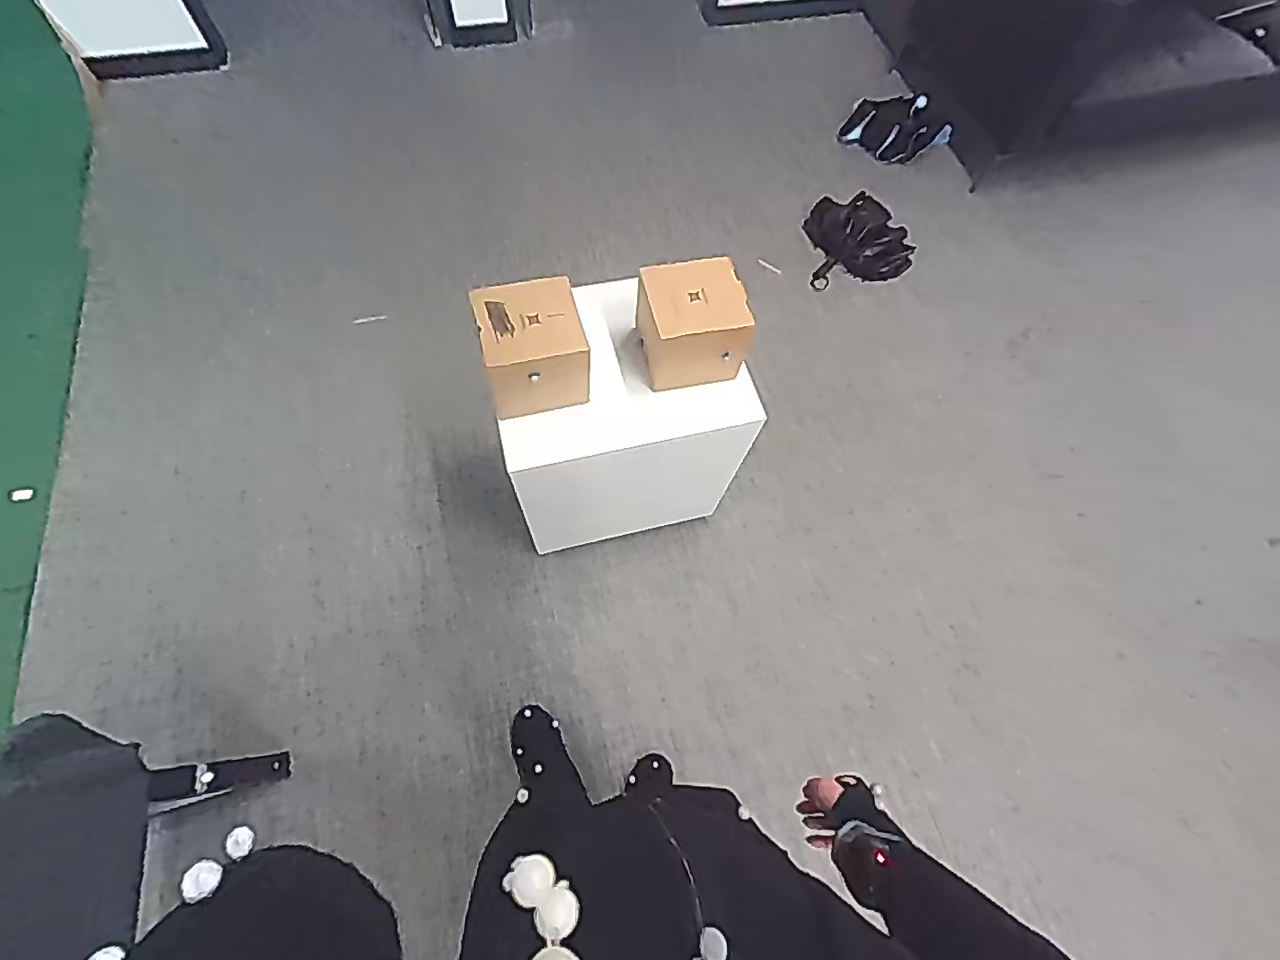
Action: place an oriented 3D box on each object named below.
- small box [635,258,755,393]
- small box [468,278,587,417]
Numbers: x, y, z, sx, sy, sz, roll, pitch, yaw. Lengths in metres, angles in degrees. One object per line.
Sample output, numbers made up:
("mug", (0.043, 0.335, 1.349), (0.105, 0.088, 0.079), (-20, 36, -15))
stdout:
("small box", (0.094, -0.286, 1.024), (0.179, 0.176, 0.168), (-12, 67, -7))
("small box", (-0.196, -0.233, 0.976), (0.179, 0.176, 0.168), (-13, 68, -12))
